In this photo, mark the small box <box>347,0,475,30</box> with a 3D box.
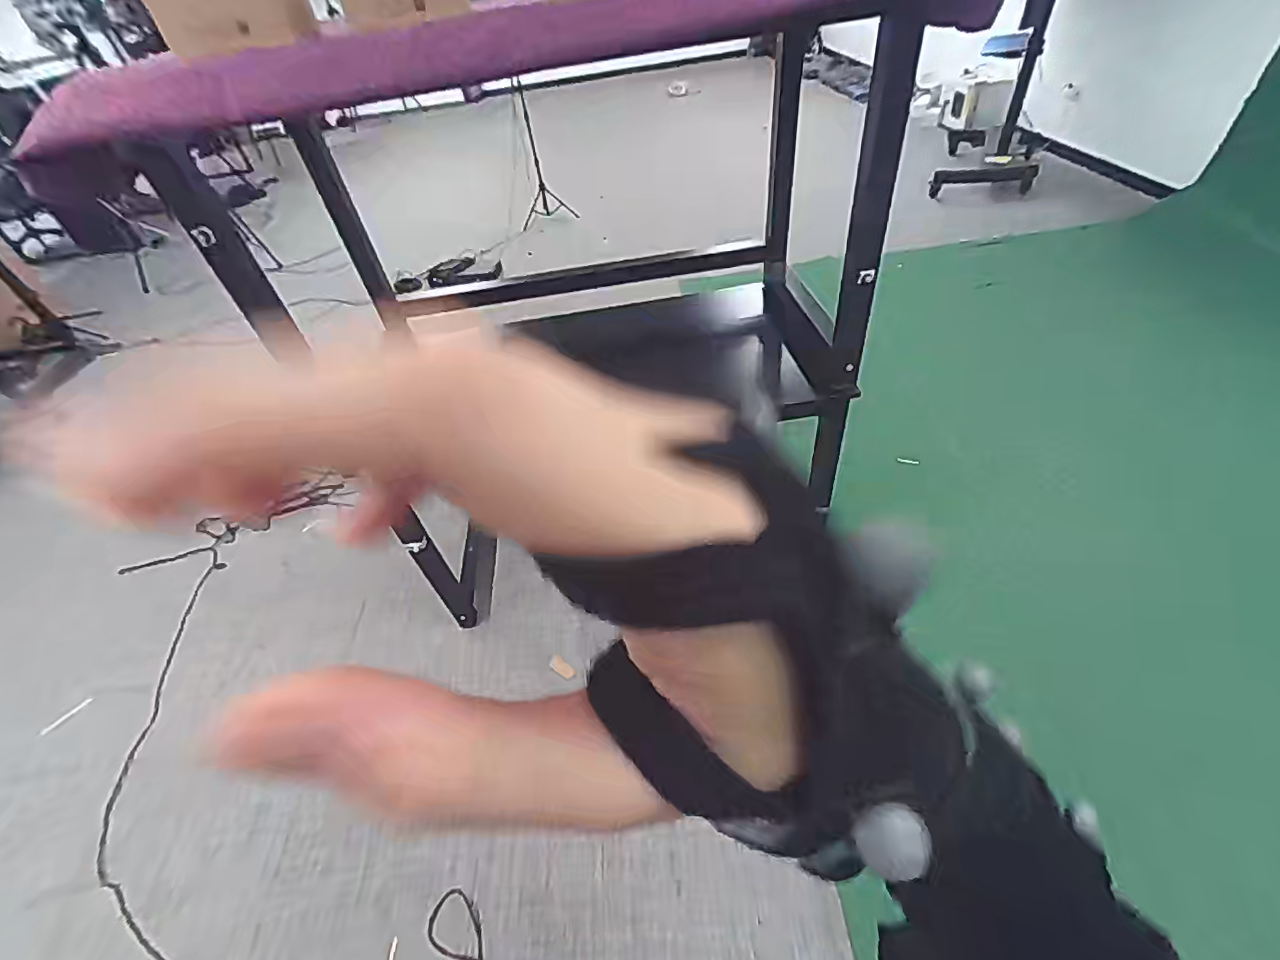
[{"bbox_3d":[-0.341,-0.756,0.764,0.168,0.176,0.179,-11,44,-3],"label":"small box"}]

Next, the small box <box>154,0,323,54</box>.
[{"bbox_3d":[-0.577,-0.713,0.755,0.168,0.176,0.179,-11,43,-5],"label":"small box"}]
